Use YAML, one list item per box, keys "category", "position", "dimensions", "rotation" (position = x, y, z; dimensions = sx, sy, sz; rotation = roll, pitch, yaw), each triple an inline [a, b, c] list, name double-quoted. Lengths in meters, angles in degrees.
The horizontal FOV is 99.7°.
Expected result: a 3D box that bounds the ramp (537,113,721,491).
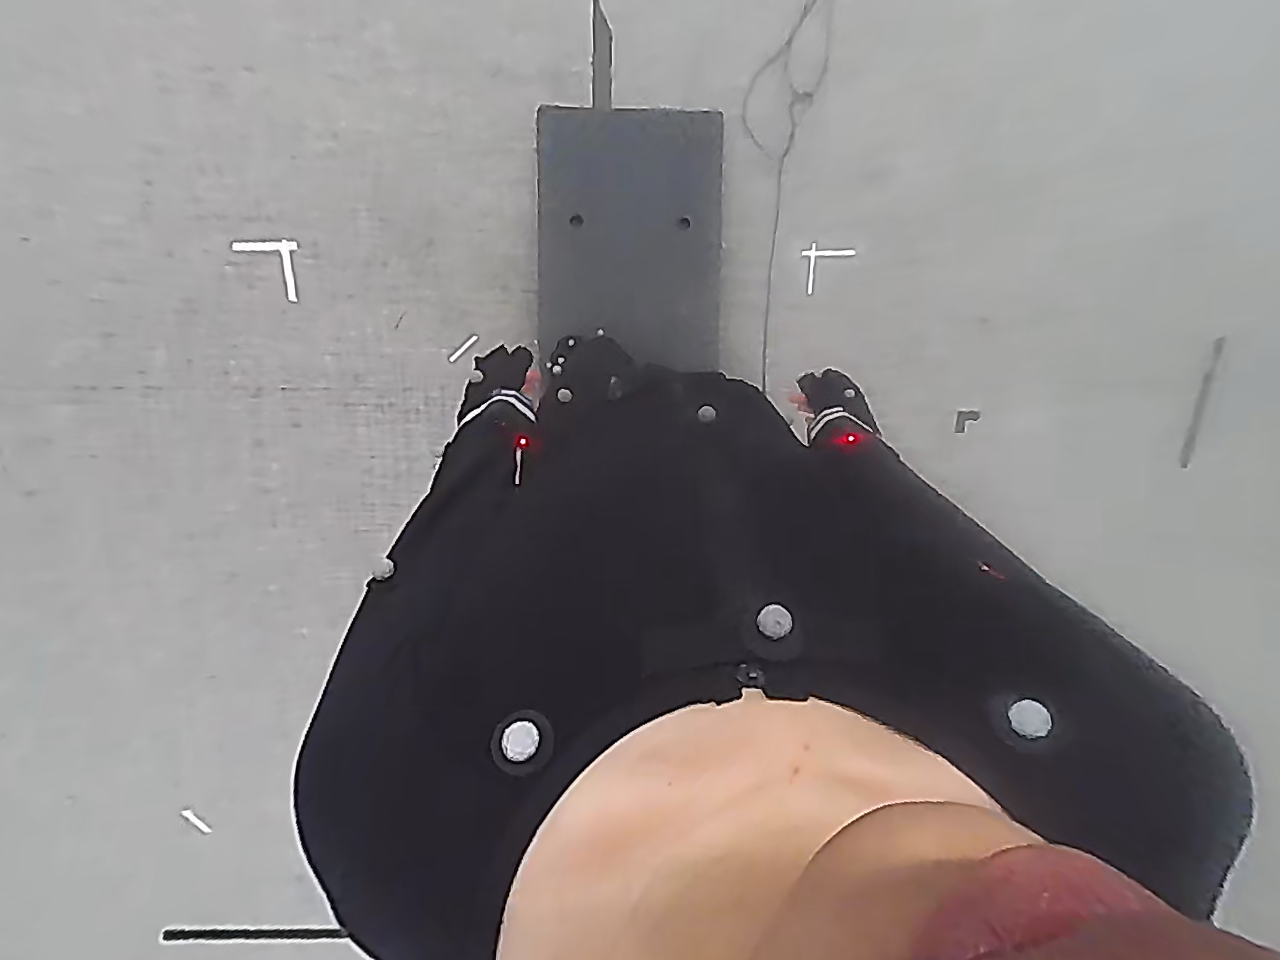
- category: "ramp"
  position: [-0.032, -0.468, 1.458]
  dimensions: [0.509, 0.206, 0.991]
  rotation: [-1, 104, 0]
